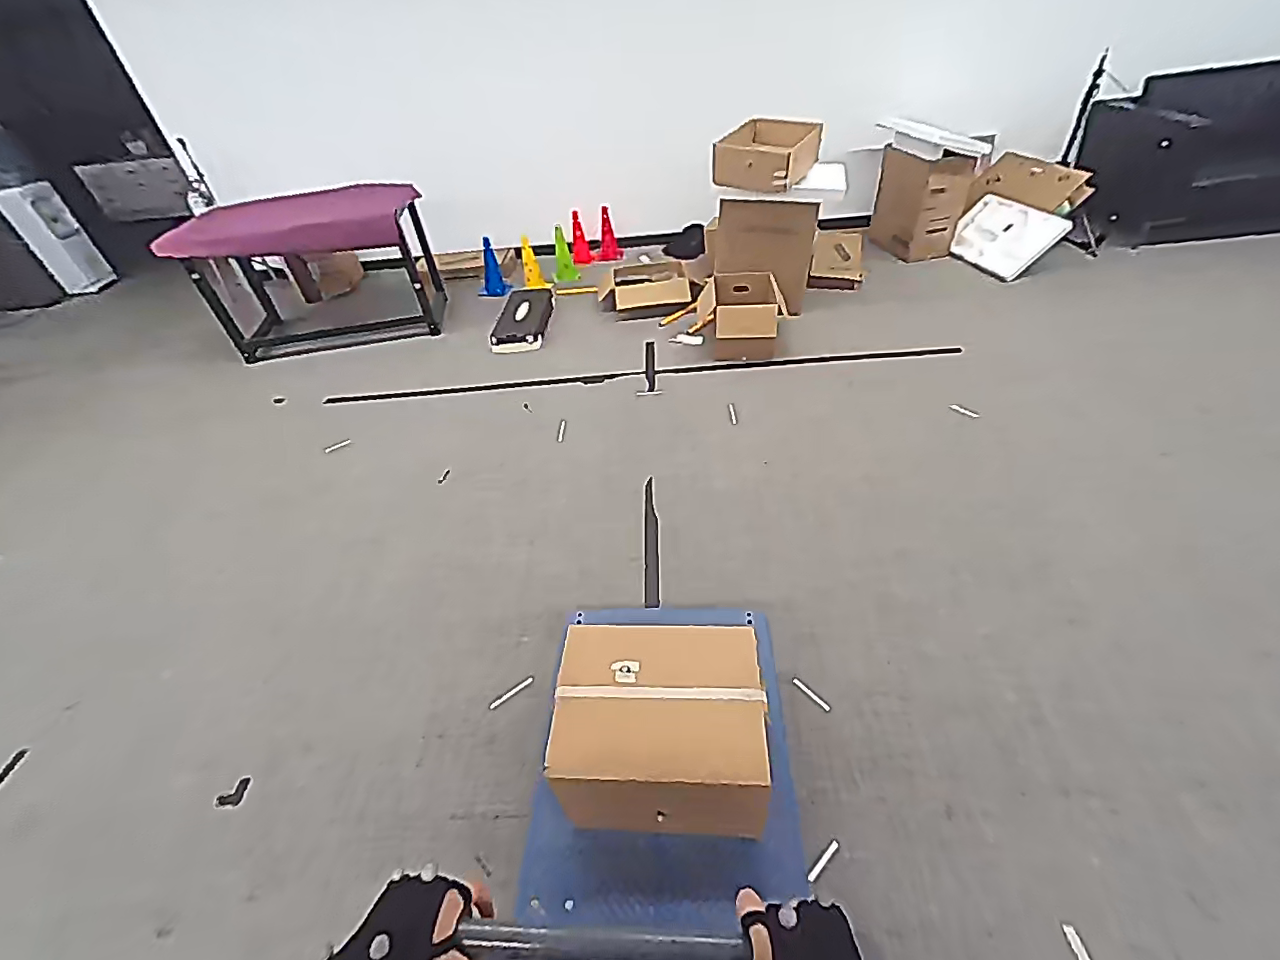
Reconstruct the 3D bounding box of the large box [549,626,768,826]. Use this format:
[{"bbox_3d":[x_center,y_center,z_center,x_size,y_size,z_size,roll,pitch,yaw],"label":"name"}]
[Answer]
[{"bbox_3d":[0.052,0.538,1.179,0.408,0.320,0.320,-2,42,6],"label":"large box"}]
